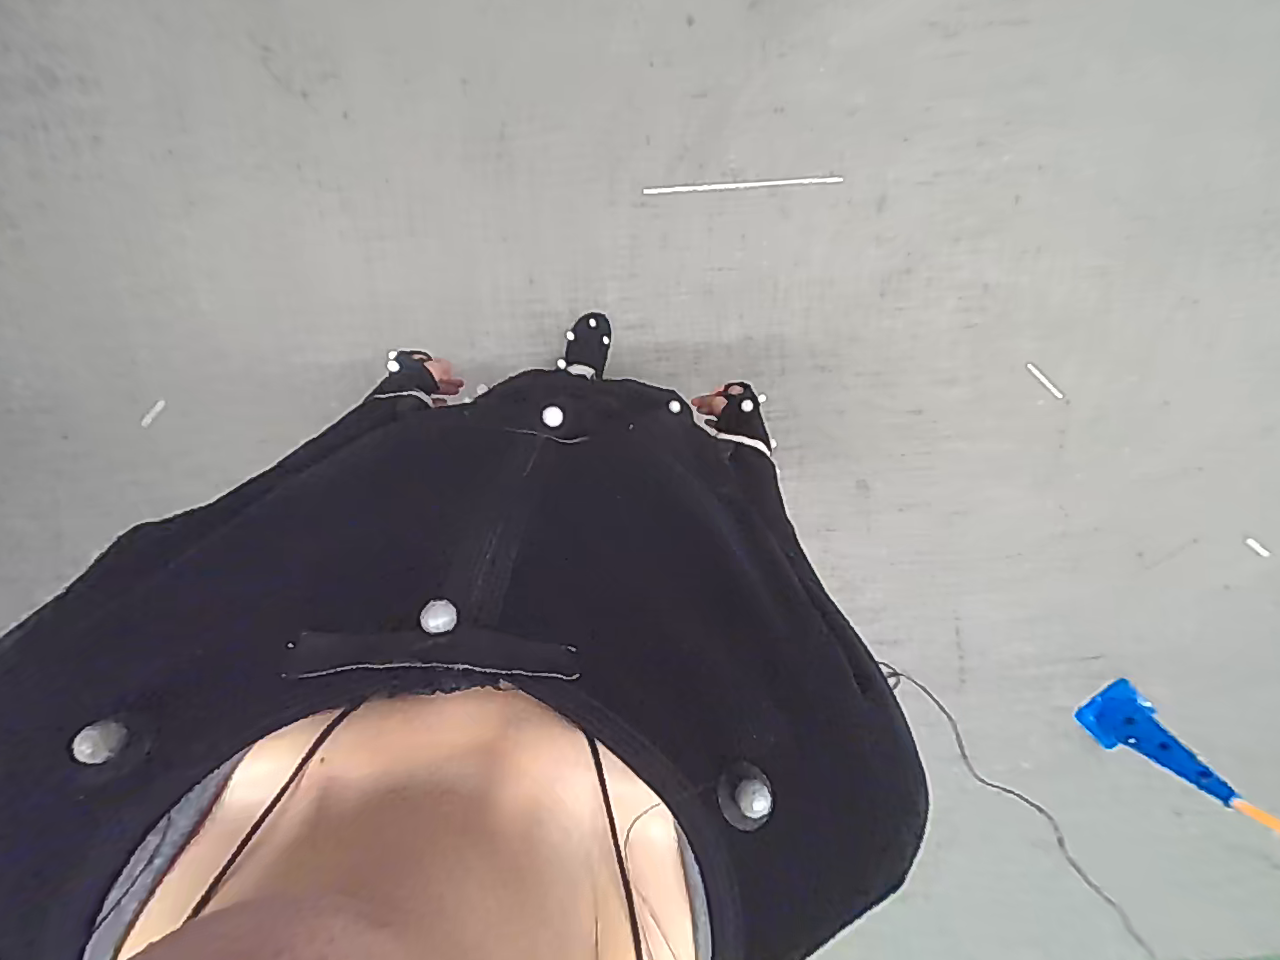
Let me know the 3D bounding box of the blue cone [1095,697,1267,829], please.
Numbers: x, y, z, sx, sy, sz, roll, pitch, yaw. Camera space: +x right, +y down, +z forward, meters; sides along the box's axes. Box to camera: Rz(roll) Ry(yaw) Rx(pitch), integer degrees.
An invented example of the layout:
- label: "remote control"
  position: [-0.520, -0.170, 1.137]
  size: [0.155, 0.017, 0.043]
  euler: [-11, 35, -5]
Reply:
- label: "blue cone"
  position: [1.545, 0.816, 1.534]
  size: [0.192, 0.380, 0.193]
  euler: [41, 98, -9]
